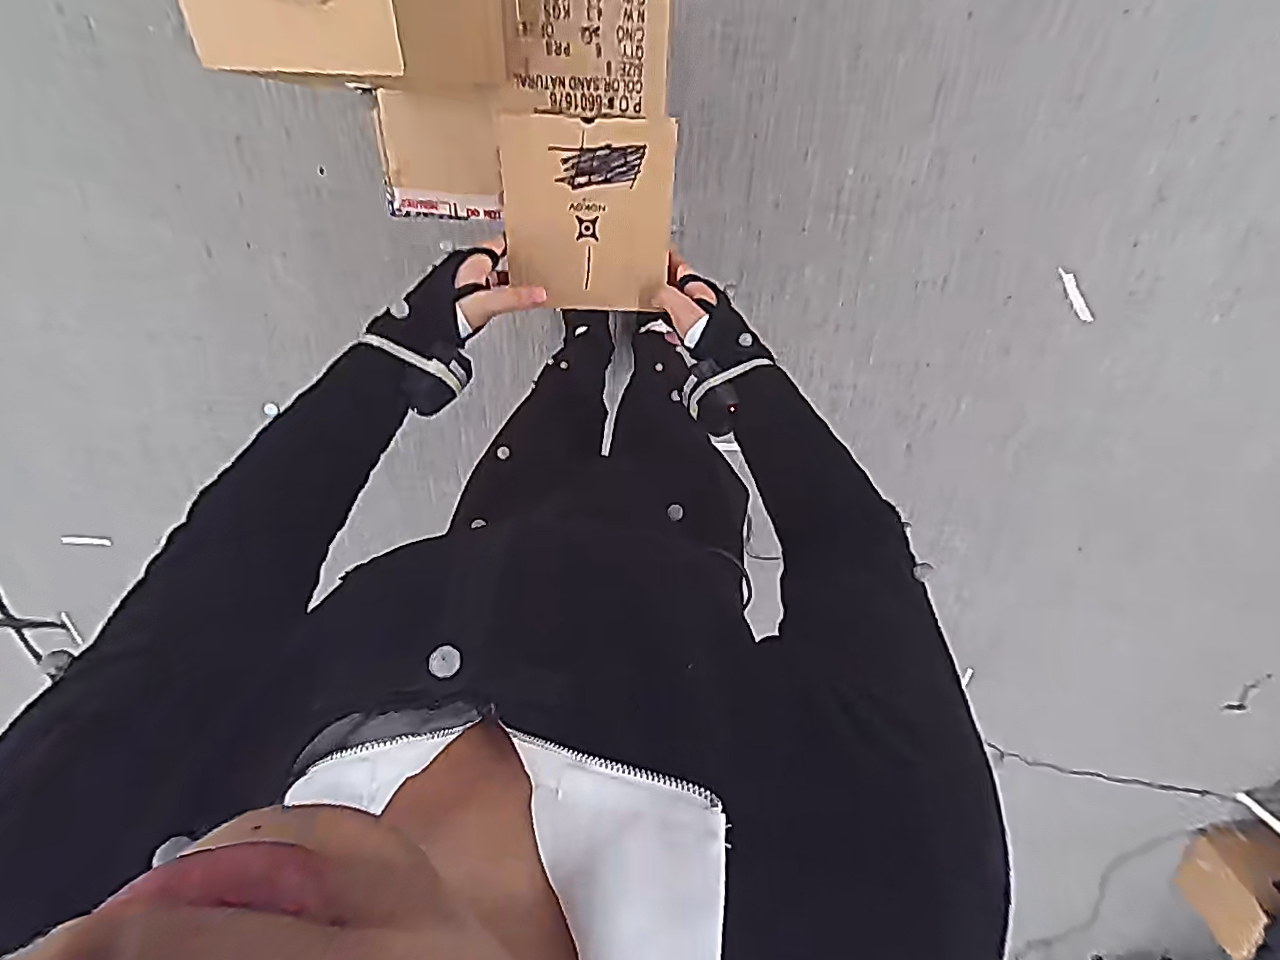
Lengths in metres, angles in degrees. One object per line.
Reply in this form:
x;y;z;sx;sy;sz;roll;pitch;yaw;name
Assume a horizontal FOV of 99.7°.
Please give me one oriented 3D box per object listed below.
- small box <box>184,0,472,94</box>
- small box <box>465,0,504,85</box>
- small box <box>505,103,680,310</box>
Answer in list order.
-0.251;-0.434;0.444;0.168;0.176;0.179;3;123;2;small box
-0.250;-0.538;0.571;0.168;0.176;0.179;4;122;1;small box
-0.054;-0.300;0.605;0.168;0.176;0.179;2;119;-4;small box
